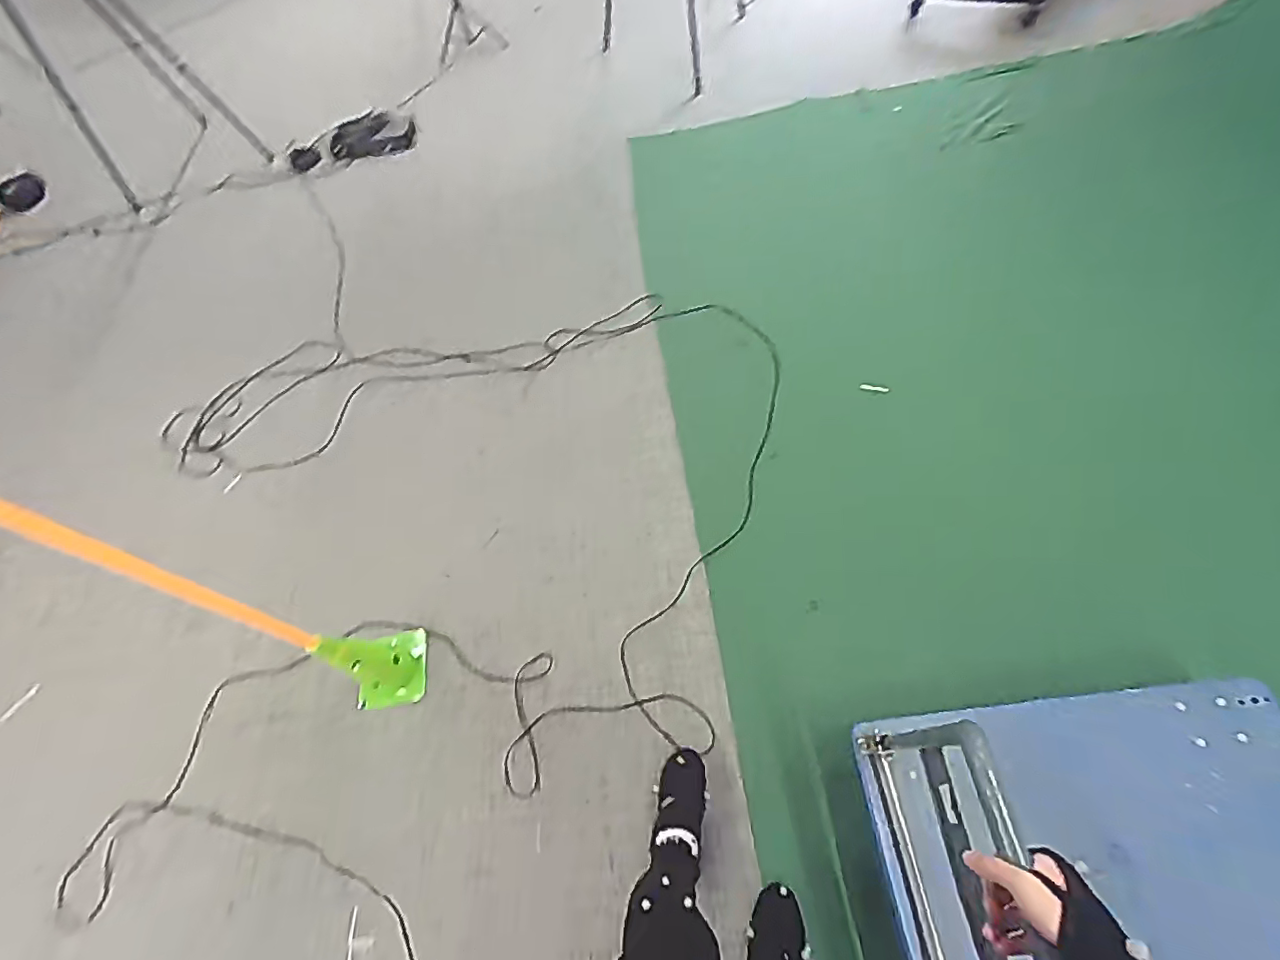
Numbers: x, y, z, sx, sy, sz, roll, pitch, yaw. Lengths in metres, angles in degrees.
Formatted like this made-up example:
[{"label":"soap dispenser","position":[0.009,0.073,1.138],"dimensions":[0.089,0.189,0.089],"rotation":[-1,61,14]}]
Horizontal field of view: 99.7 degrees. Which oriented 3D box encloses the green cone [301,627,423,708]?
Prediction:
[{"label":"green cone","position":[-0.757,0.462,1.435],"dimensions":[0.200,0.368,0.202],"rotation":[-13,59,2]}]
